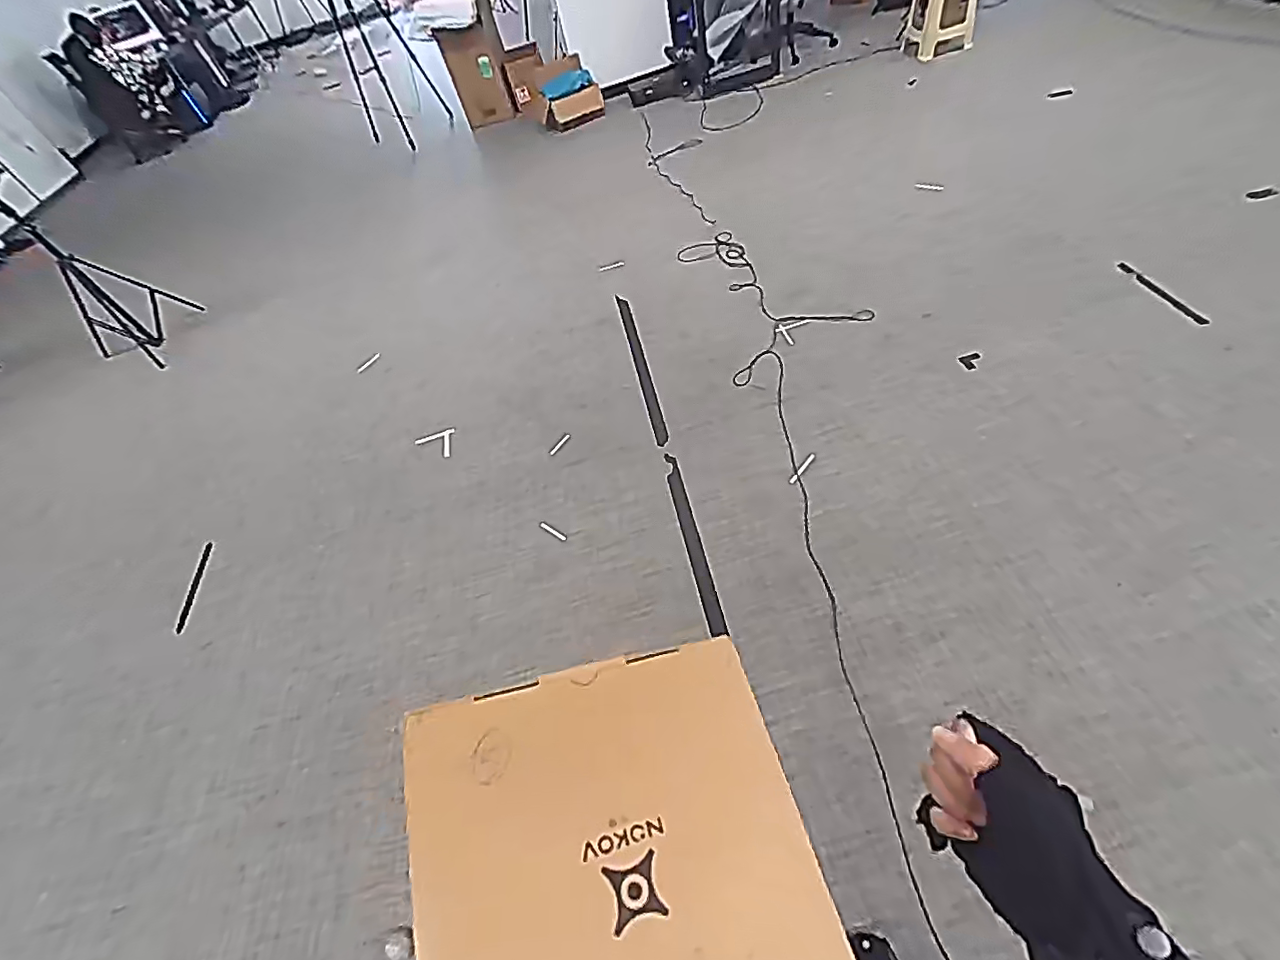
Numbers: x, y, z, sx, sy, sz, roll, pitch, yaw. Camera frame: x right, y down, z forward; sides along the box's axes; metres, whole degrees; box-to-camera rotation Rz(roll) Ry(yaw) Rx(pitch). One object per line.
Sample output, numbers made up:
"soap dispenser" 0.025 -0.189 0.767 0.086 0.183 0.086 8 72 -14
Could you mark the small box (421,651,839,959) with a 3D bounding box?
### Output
"small box" -0.023 0.219 0.296 0.168 0.176 0.179 -6 57 -20
